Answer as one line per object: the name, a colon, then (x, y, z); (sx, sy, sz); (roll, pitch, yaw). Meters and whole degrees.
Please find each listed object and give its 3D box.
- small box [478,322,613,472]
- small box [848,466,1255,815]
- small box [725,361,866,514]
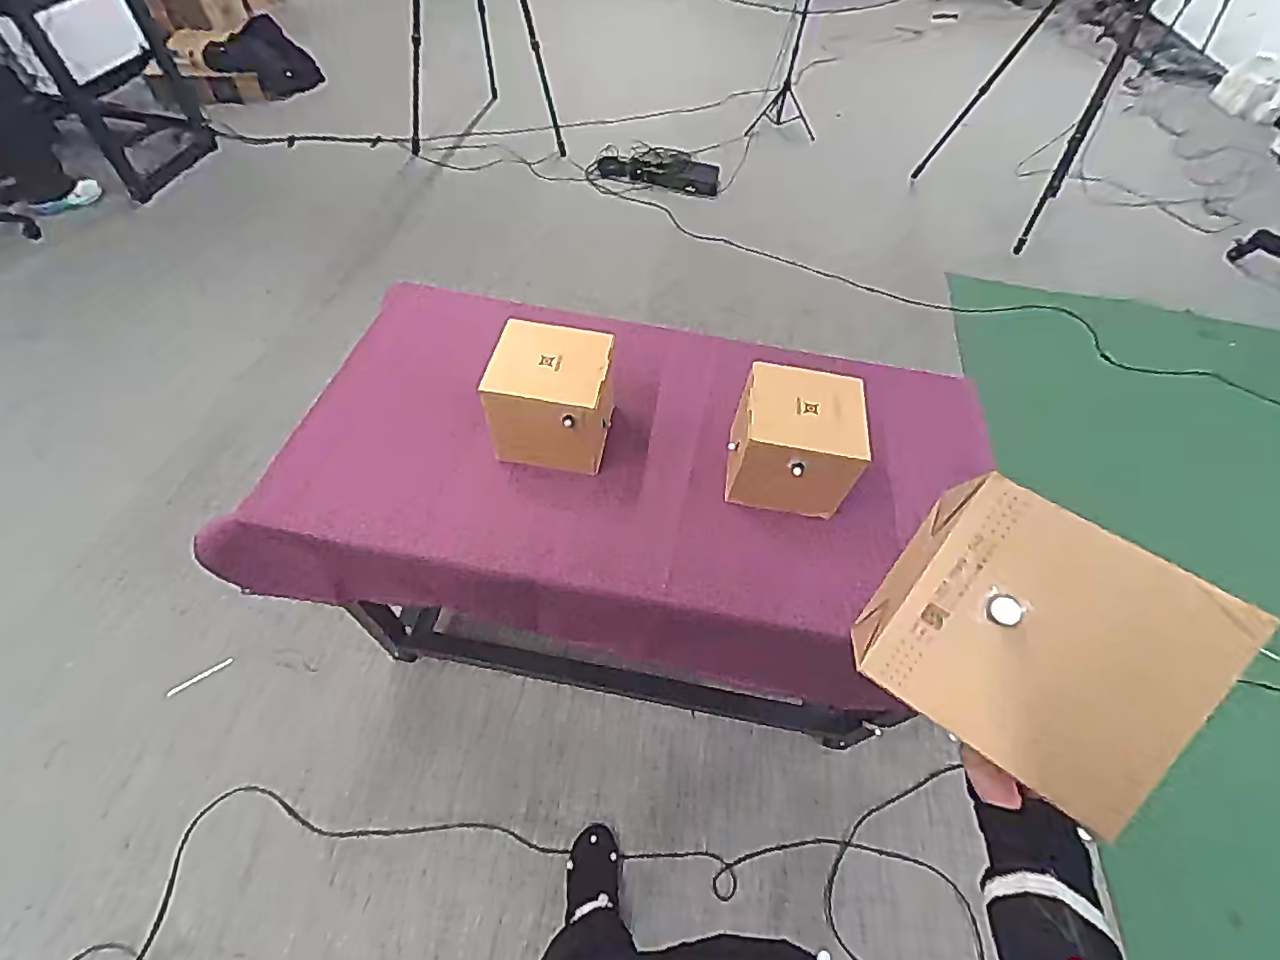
small box: (-0.145, -0.132, 0.889); (0.179, 0.176, 0.168); (9, 54, 0)
small box: (0.282, 0.104, 0.428); (0.176, 0.179, 0.168); (33, 96, 21)
small box: (0.240, -0.062, 0.870); (0.179, 0.176, 0.168); (10, 55, 2)
